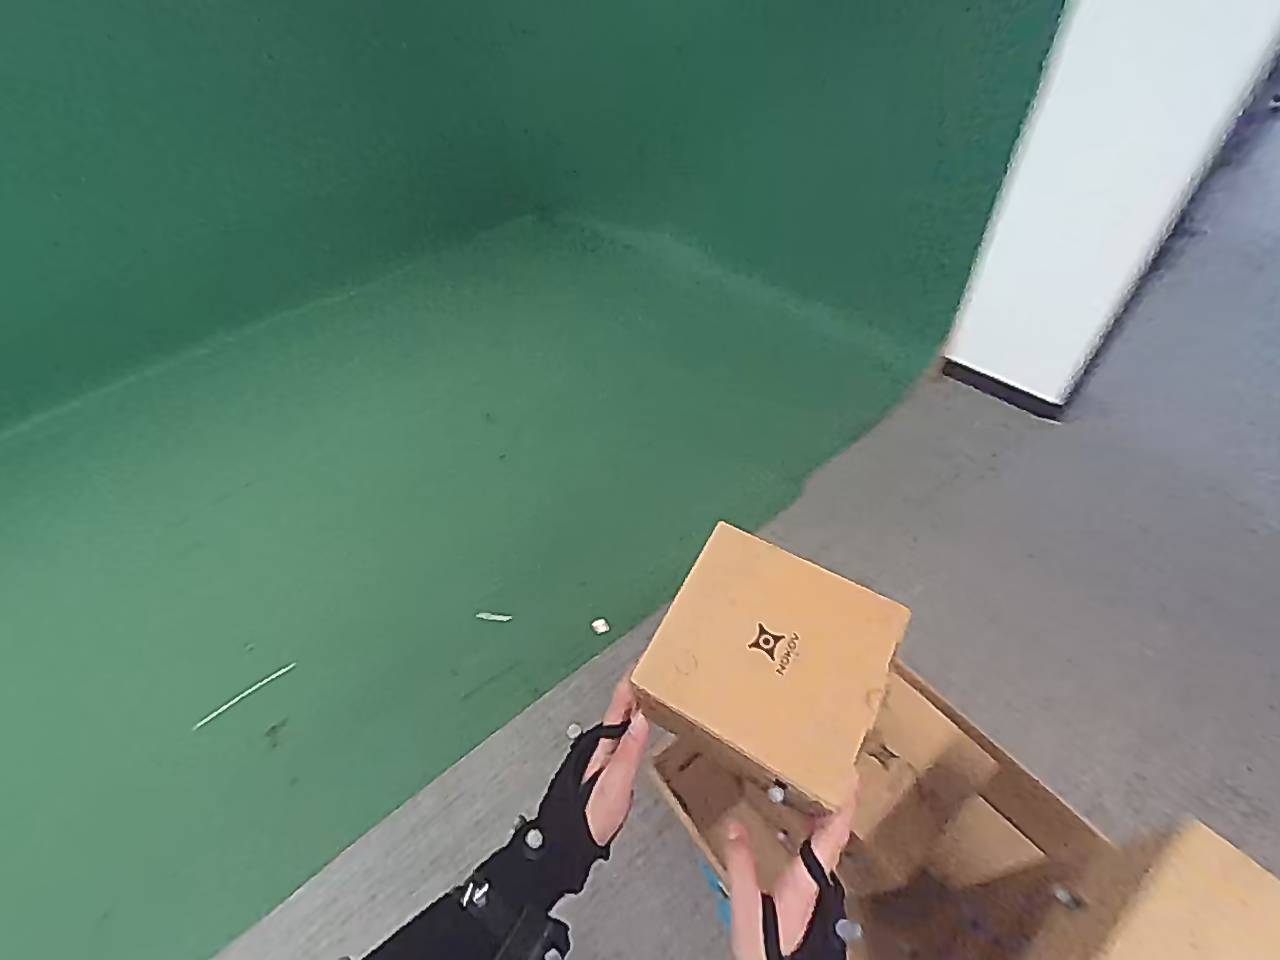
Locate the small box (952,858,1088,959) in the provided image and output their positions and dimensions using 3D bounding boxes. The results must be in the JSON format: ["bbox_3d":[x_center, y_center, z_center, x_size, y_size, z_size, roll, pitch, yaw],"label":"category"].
[{"bbox_3d":[0.392,0.489,0.478,0.168,0.176,0.179,-33,50,-19],"label":"small box"}]

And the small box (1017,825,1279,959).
[{"bbox_3d":[0.380,0.378,0.355,0.168,0.176,0.179,-32,51,-18],"label":"small box"}]

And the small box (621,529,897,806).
[{"bbox_3d":[0.103,0.180,0.504,0.179,0.176,0.168,24,63,19],"label":"small box"}]
